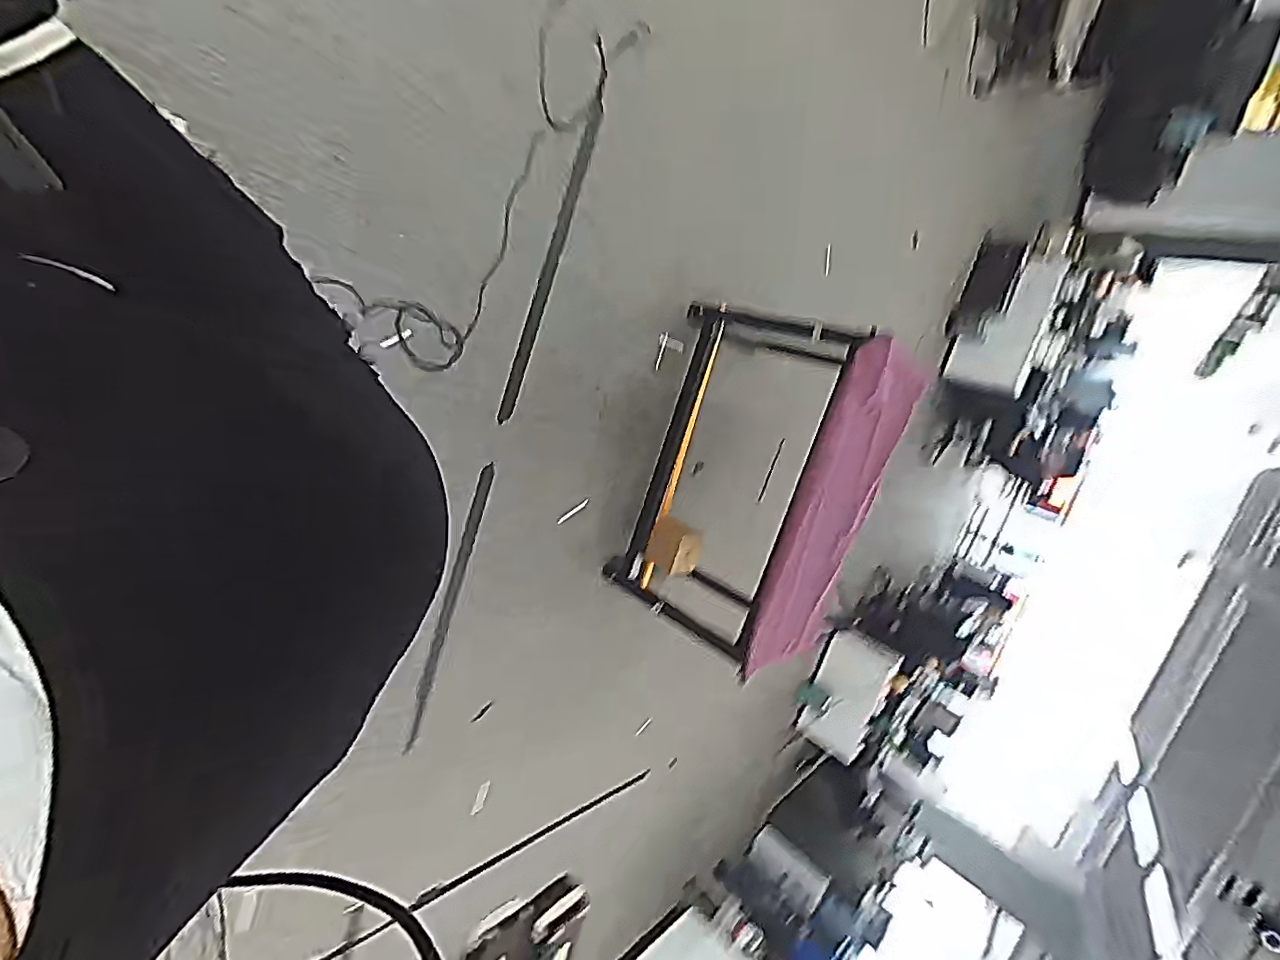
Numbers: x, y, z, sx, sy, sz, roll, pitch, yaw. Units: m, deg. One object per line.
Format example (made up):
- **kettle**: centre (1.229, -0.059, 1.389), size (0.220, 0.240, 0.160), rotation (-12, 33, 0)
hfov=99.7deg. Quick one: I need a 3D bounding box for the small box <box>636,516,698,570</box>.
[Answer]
- **small box**: centre (0.108, 0.255, 2.237), size (0.168, 0.176, 0.179), rotation (5, 106, -50)
